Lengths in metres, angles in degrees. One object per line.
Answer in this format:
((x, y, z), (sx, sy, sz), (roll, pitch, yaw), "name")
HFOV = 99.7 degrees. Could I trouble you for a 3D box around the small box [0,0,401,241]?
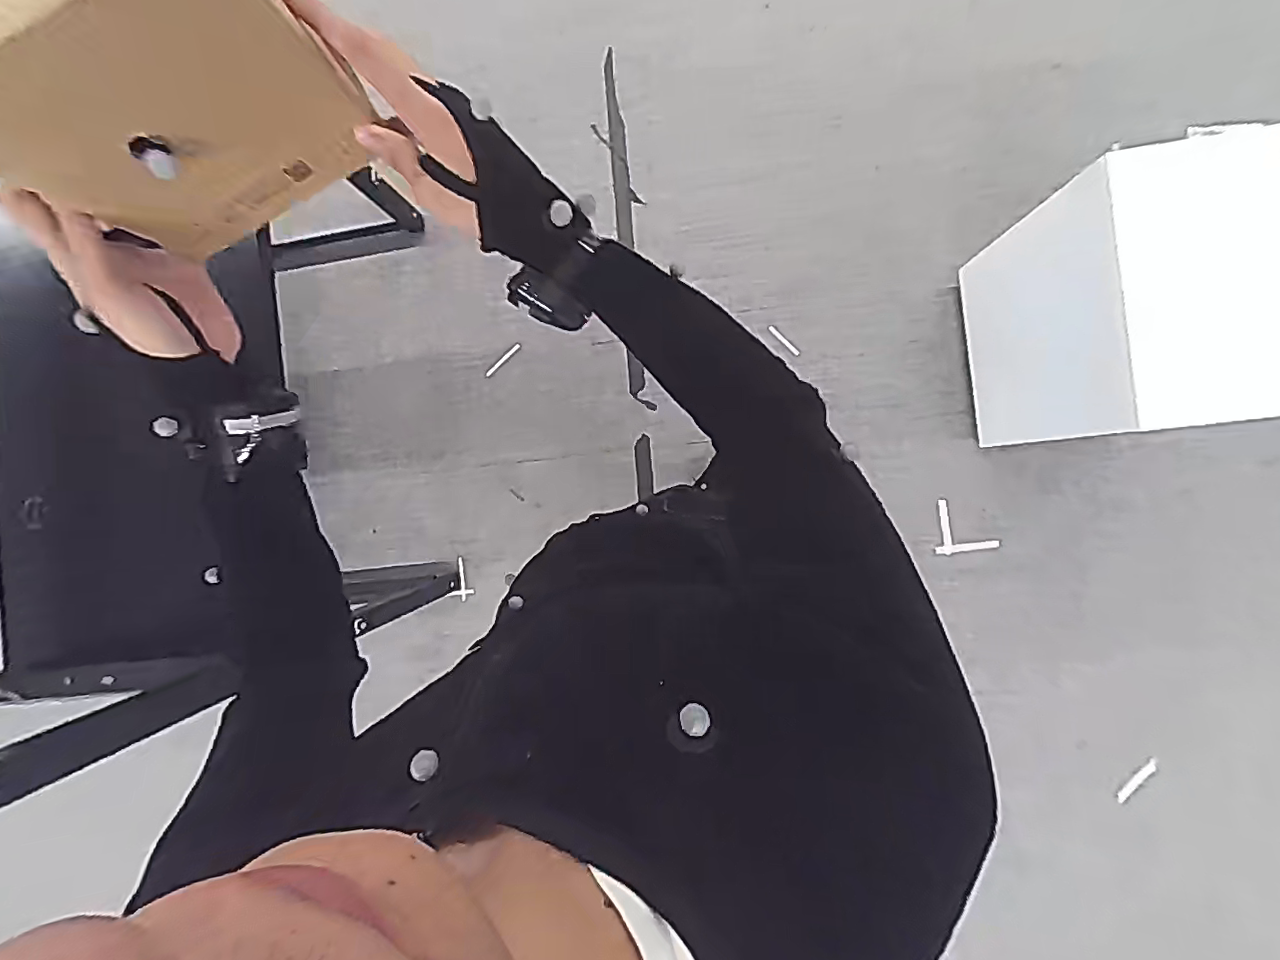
((-0.274, -0.265, 0.307), (0.168, 0.176, 0.179), (-28, 90, 3), "small box")
